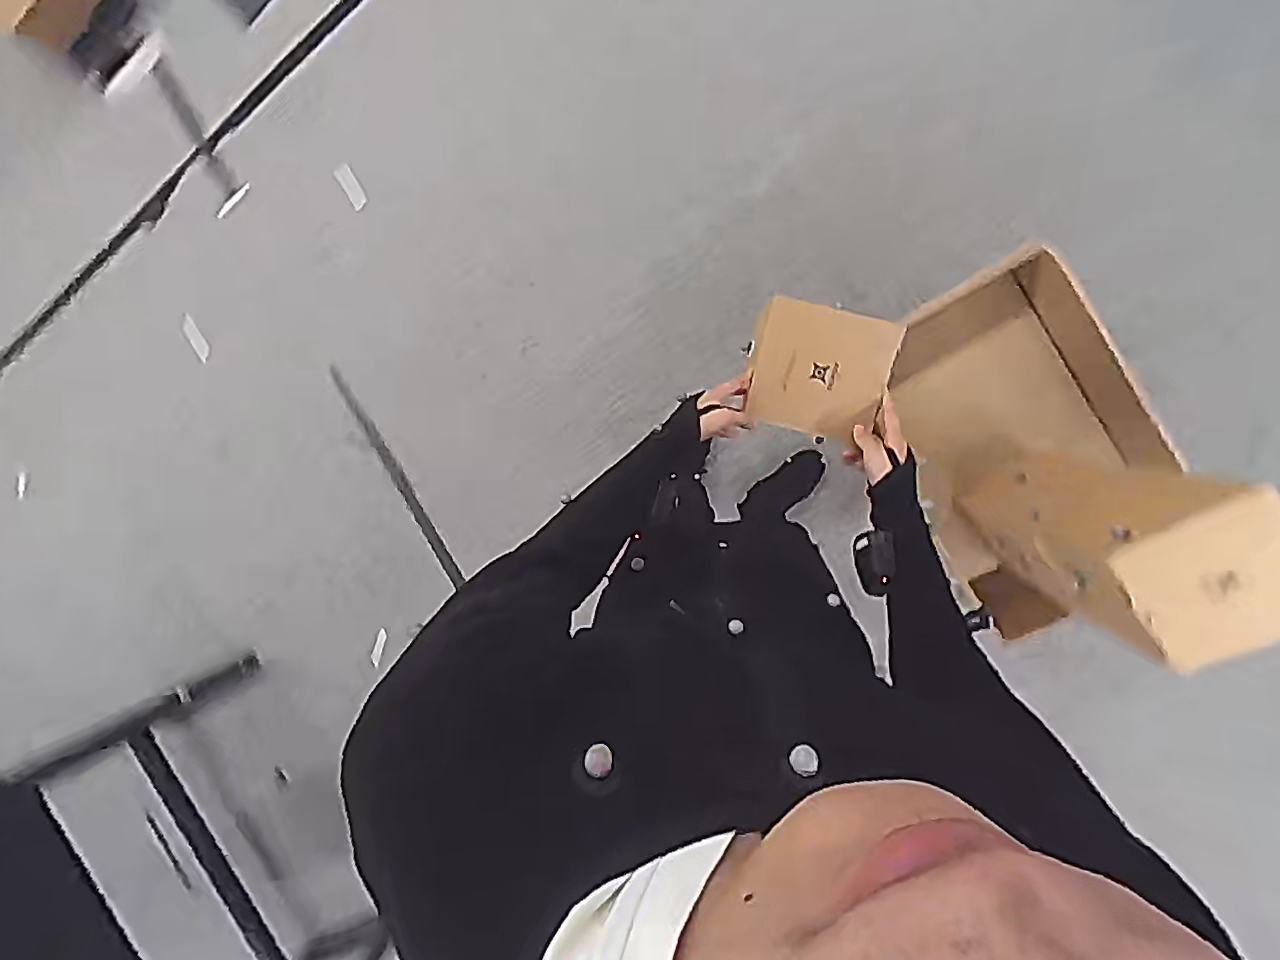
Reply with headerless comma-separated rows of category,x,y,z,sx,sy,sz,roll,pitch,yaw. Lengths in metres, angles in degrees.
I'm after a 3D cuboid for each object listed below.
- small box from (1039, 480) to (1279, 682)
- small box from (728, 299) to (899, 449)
small box,0.666,0.114,0.685,0.179,0.176,0.168,-31,90,15
small box,0.238,-0.155,0.792,0.179,0.176,0.168,13,102,1
